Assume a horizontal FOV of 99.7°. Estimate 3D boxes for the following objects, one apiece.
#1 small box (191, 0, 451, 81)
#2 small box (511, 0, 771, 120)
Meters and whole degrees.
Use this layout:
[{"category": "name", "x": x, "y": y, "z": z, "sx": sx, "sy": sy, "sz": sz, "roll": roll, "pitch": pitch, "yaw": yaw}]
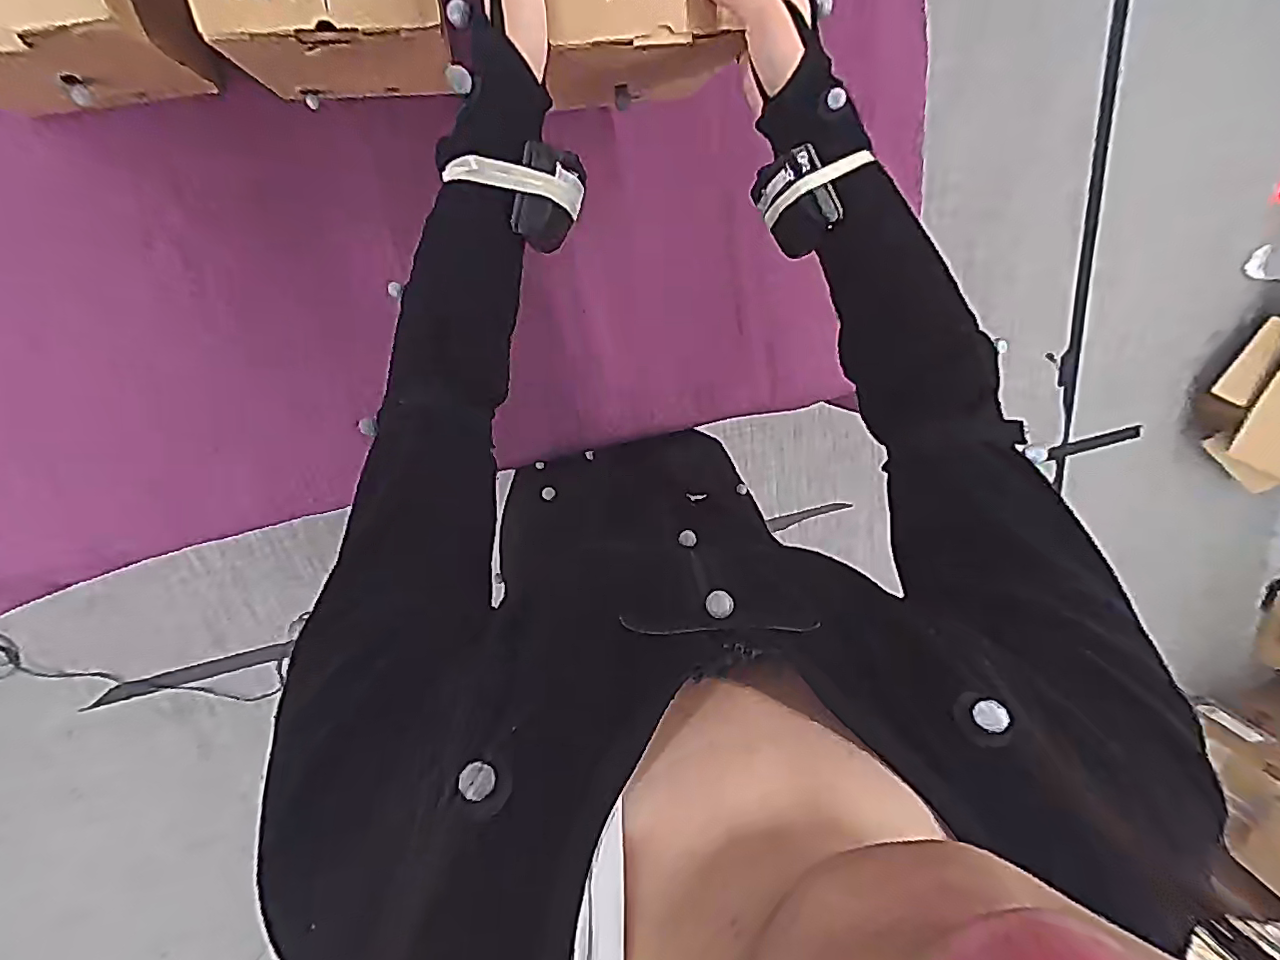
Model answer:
[{"category": "small box", "x": -0.256, "y": -0.441, "z": 0.430, "sx": 0.168, "sy": 0.176, "sz": 0.179, "roll": -10, "pitch": 113, "yaw": -11}, {"category": "small box", "x": -0.016, "y": -0.408, "z": 0.416, "sx": 0.168, "sy": 0.176, "sz": 0.179, "roll": -14, "pitch": 113, "yaw": -10}]
